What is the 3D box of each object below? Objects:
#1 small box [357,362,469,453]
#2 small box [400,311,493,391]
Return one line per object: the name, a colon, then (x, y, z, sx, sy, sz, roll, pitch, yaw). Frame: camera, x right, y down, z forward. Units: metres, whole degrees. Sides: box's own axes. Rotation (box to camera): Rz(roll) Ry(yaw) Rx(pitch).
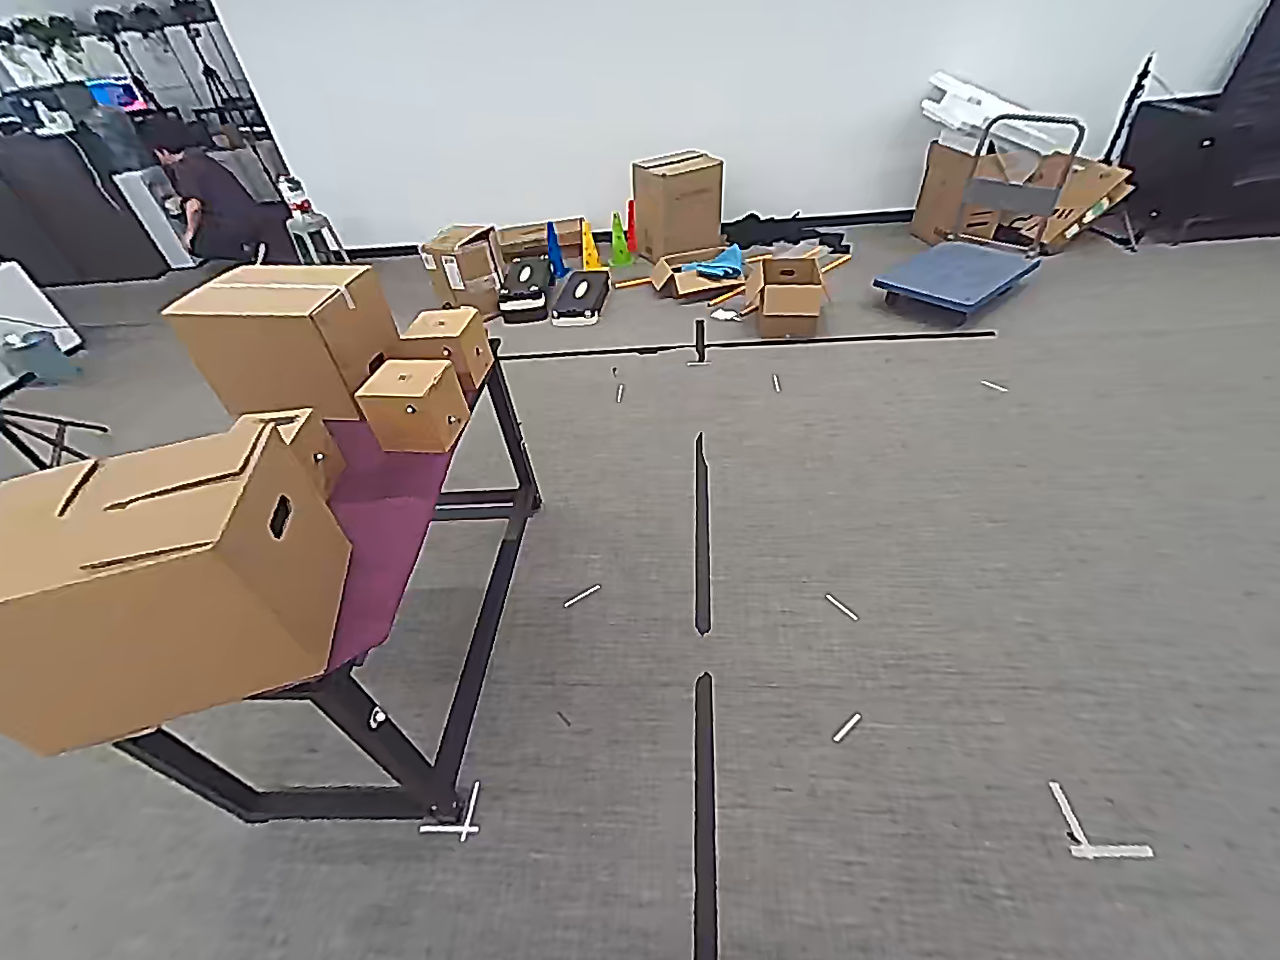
small box: (-0.553, -0.179, 1.343, 0.179, 0.176, 0.168, 2, 42, 9)
small box: (-0.543, -0.365, 1.547, 0.179, 0.176, 0.168, -1, 42, 9)
